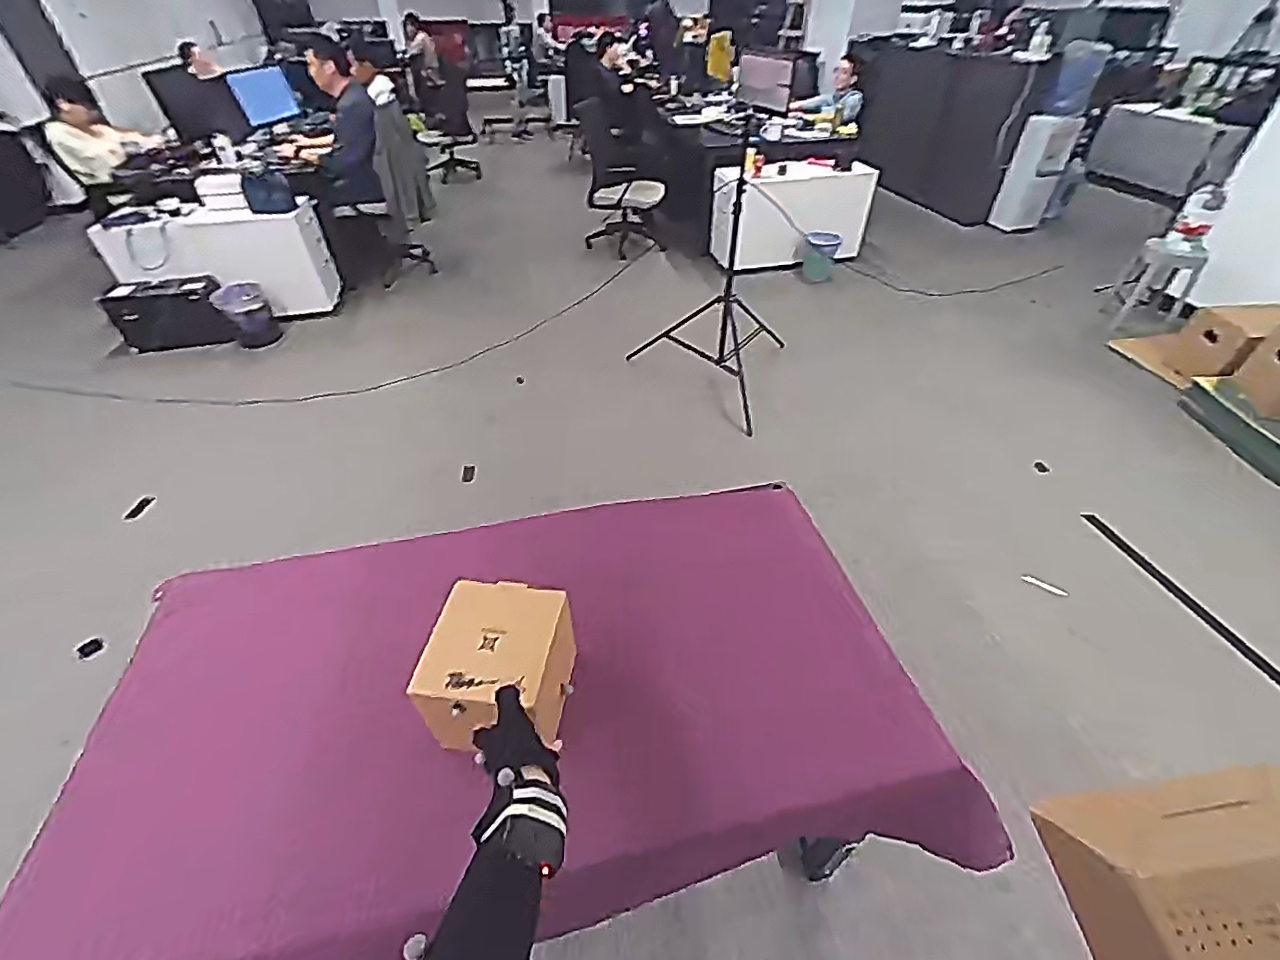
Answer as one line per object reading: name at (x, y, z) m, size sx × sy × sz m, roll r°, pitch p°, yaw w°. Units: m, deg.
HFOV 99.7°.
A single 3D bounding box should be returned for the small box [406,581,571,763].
small box at (-0.198, 0.271, 0.769) m, size 0.168 × 0.176 × 0.179 m, roll 4°, pitch 41°, yaw 6°
